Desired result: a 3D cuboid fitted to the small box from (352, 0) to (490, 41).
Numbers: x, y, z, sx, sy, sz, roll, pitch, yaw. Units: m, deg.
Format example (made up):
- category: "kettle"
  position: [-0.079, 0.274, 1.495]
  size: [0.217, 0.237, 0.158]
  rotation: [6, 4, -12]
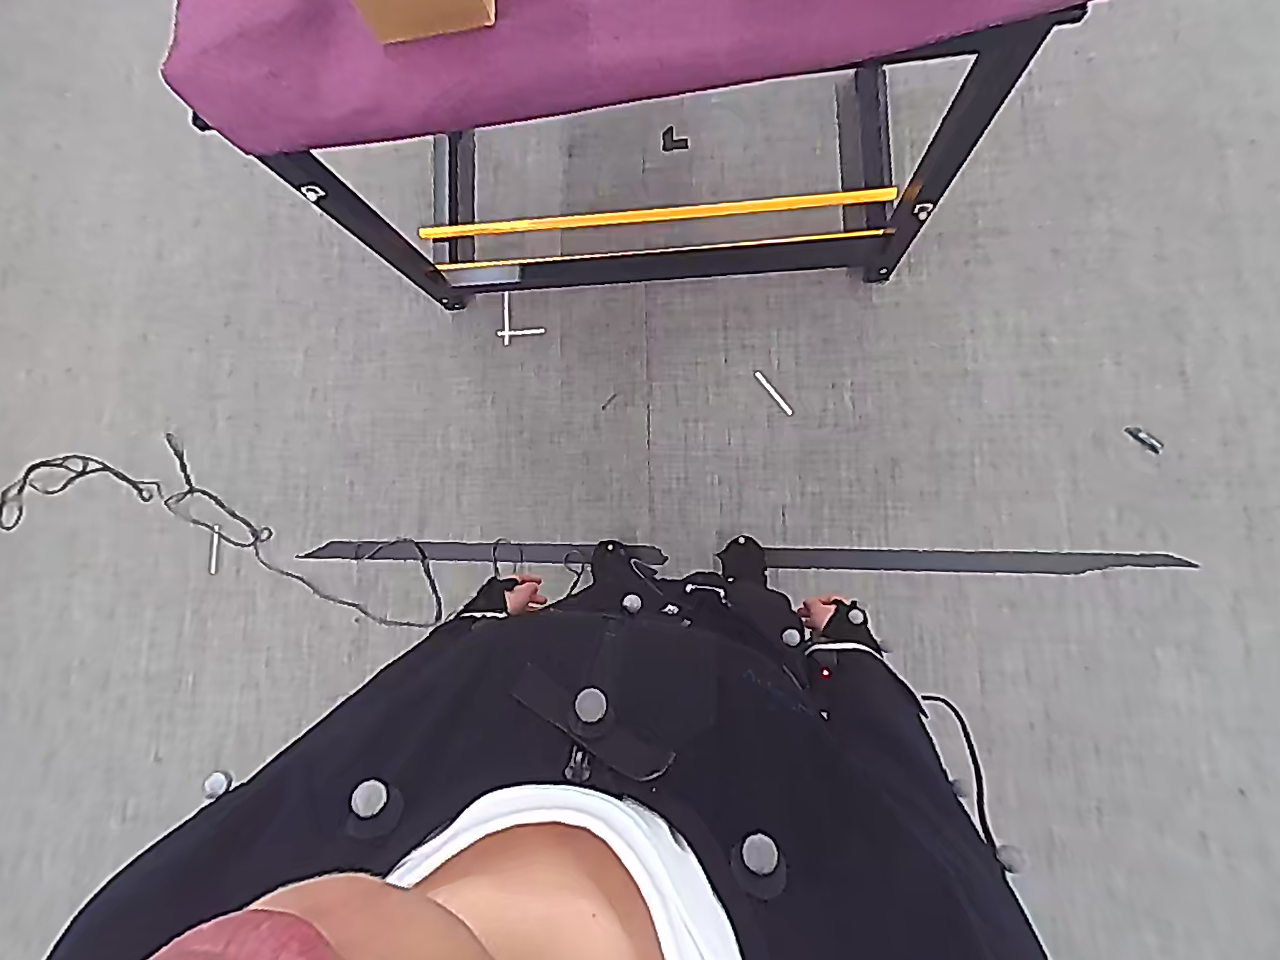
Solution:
- category: "small box"
  position: [-0.297, -0.710, 0.684]
  size: [0.179, 0.176, 0.168]
  rotation: [-3, 84, 8]
